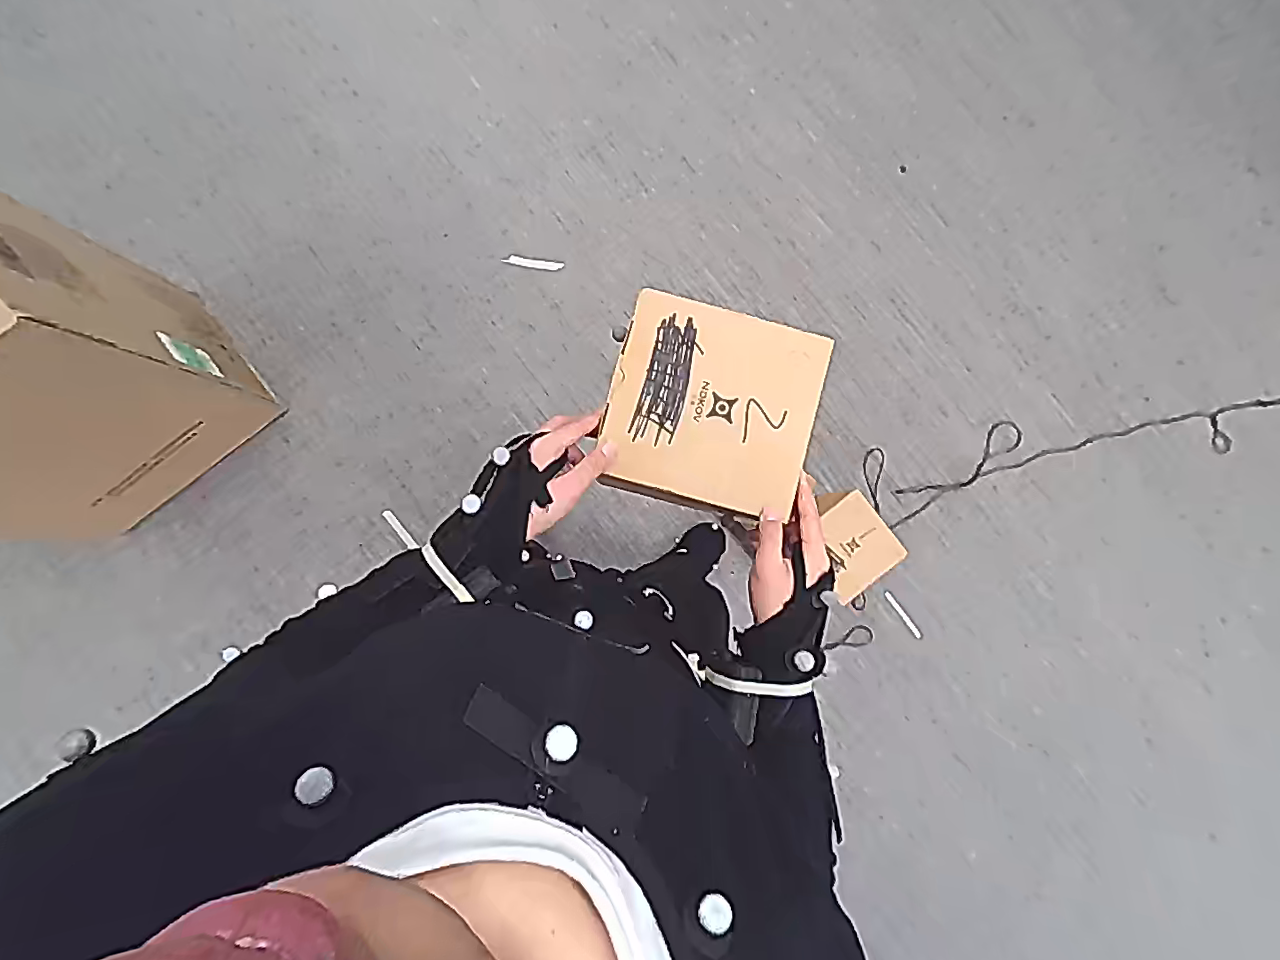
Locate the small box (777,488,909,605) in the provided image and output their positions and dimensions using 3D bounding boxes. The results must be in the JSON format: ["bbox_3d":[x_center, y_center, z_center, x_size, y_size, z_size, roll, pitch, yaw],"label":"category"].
[{"bbox_3d":[0.409,0.136,1.132,0.179,0.176,0.168,-37,87,-4],"label":"small box"}]
